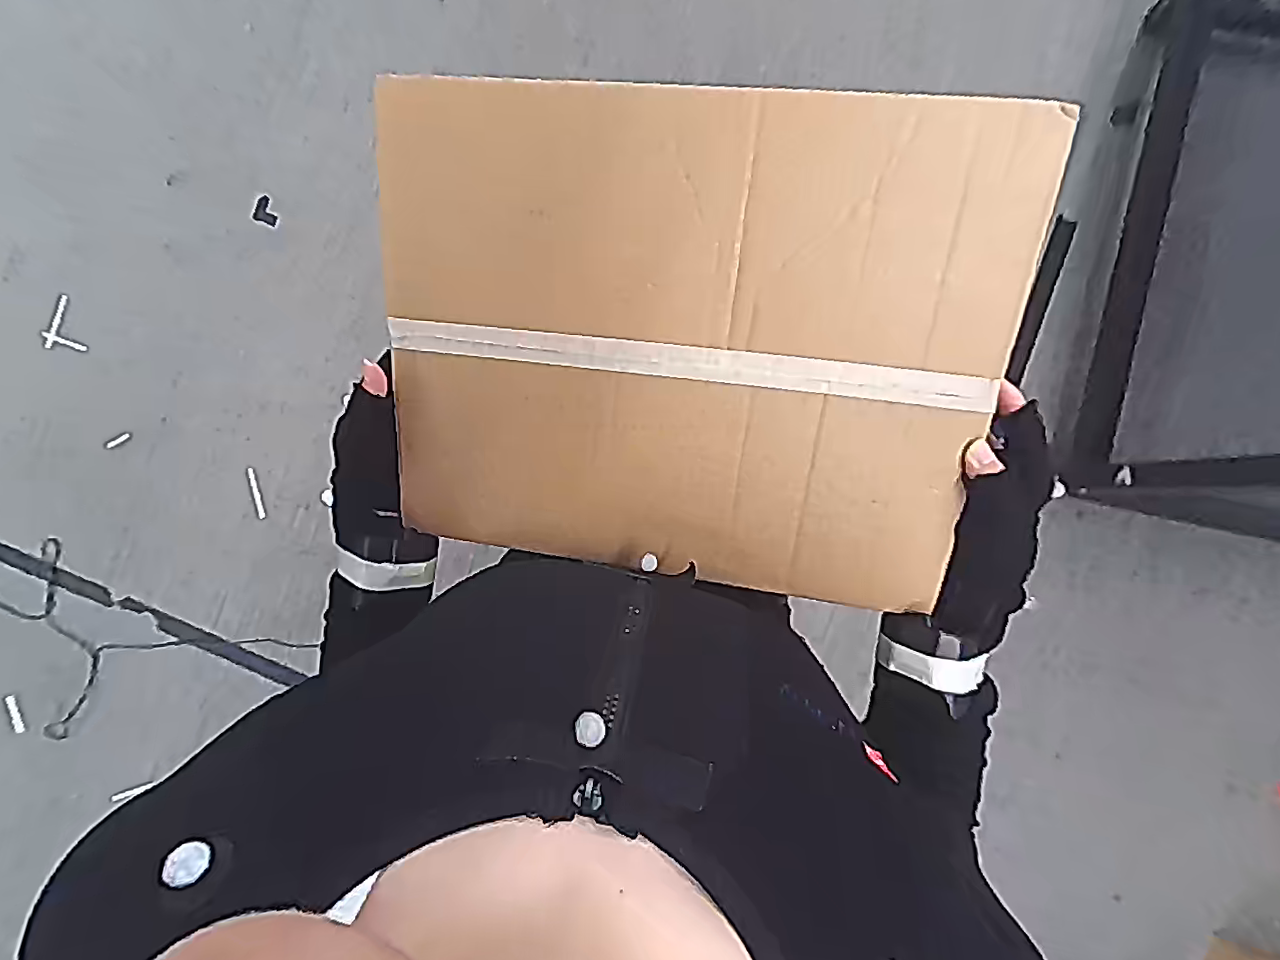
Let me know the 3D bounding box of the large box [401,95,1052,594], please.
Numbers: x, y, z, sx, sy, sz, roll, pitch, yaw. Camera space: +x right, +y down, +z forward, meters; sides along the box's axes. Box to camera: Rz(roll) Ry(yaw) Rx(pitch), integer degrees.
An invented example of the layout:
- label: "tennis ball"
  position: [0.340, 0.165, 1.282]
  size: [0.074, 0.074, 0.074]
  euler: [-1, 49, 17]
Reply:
- label: "large box"
  position: [0.049, -0.128, 0.514]
  size: [0.408, 0.320, 0.320]
  euler: [8, 110, 8]
